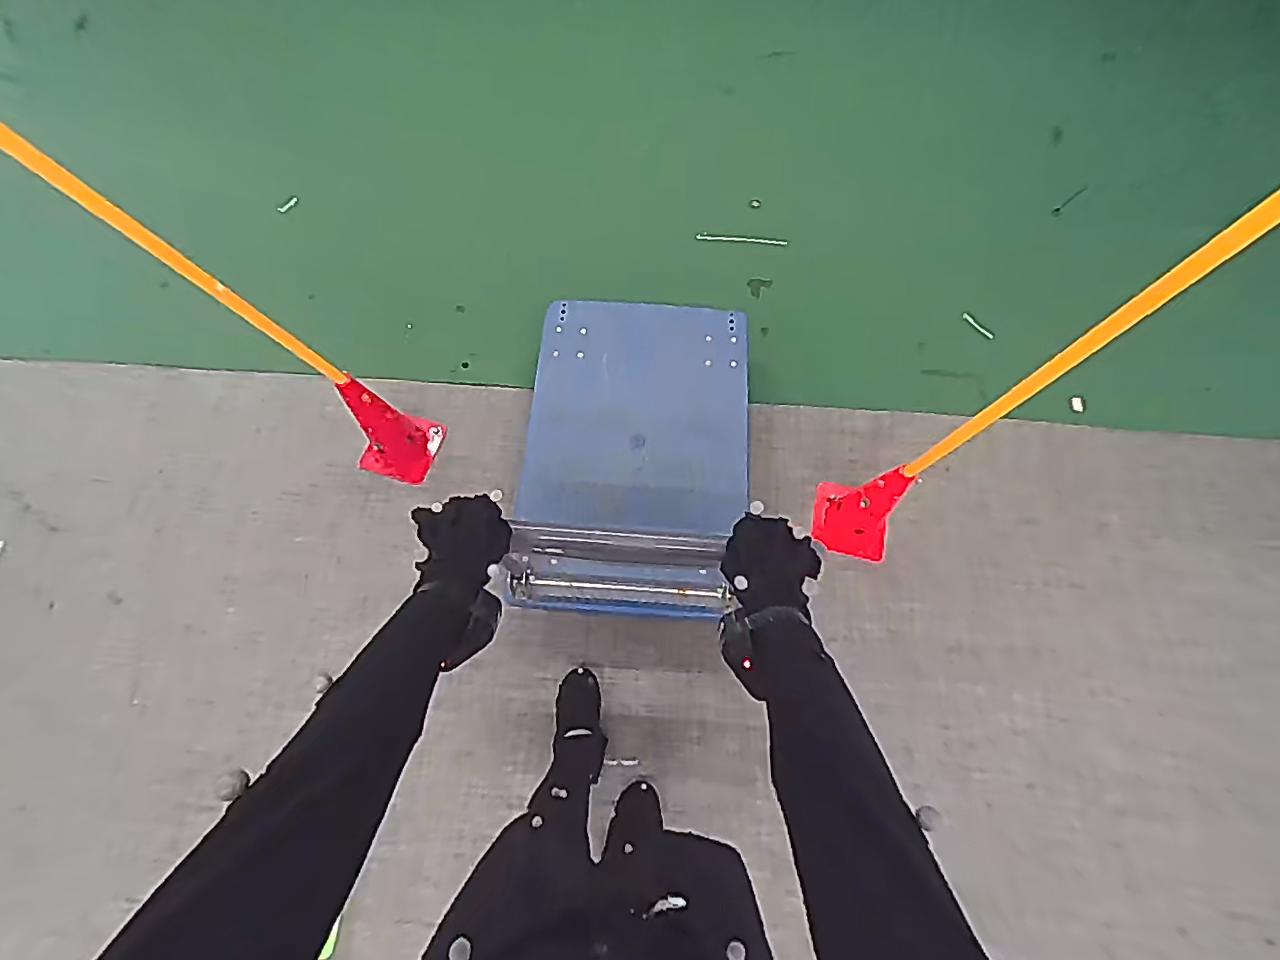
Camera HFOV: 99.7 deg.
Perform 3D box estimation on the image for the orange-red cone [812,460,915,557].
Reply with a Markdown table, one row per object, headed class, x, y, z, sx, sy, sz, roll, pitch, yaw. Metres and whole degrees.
| class | x | y | z | sx | sy | sz | roll | pitch | yaw |
| --- | --- | --- | --- | --- | --- | --- | --- | --- | --- |
| orange-red cone | 0.585 | 0.040 | 1.340 | 0.198 | 0.360 | 0.199 | 14 | 69 | 6 |
